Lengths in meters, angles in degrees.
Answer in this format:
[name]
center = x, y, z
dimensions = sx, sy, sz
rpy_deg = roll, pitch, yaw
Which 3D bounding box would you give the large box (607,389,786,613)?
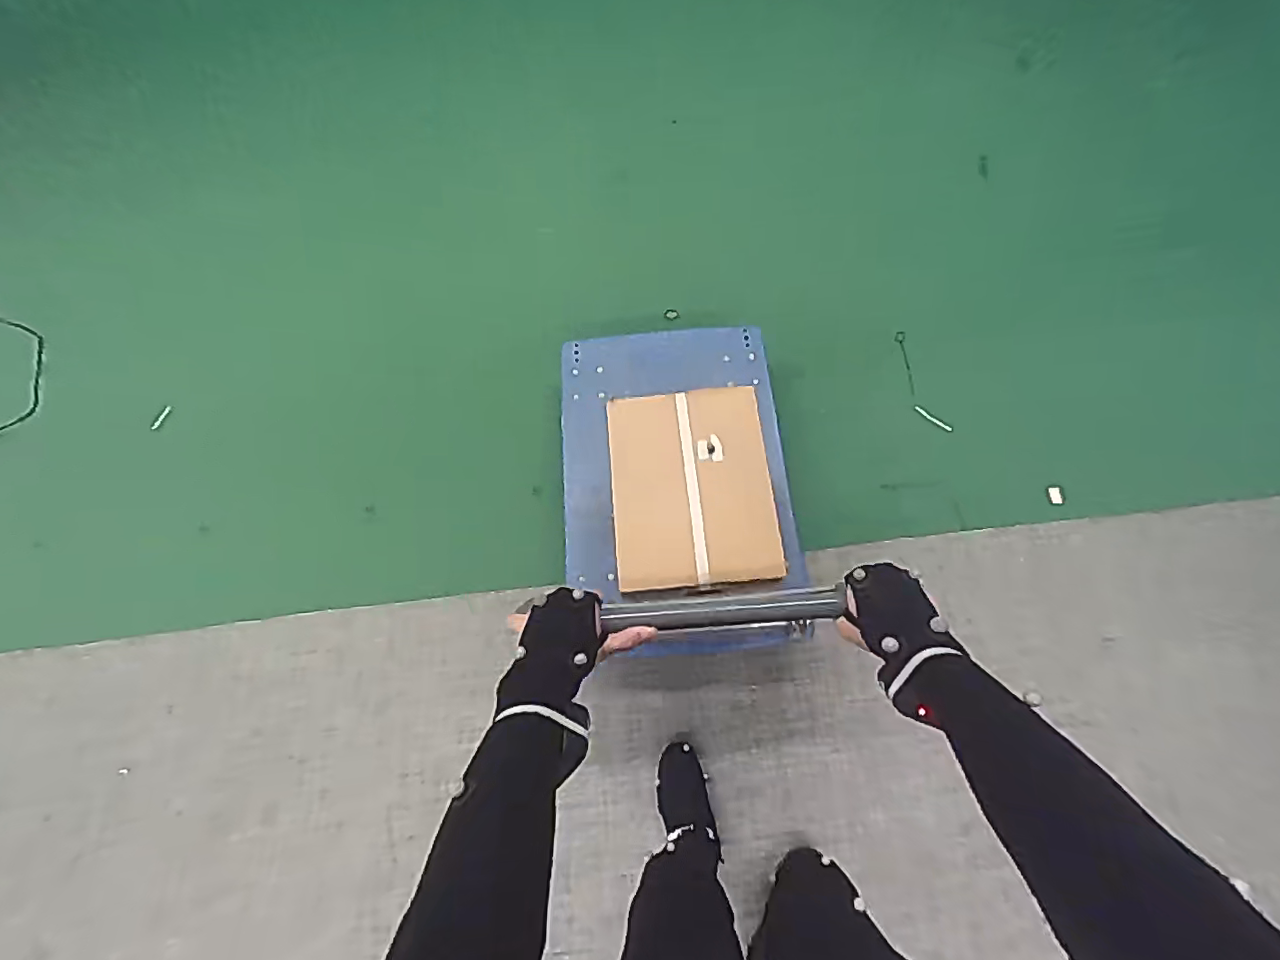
[large box]
center = 0.110, 0.061, 1.206
dimensions = 0.320, 0.320, 0.408
rpy_deg = -5, 69, 1
